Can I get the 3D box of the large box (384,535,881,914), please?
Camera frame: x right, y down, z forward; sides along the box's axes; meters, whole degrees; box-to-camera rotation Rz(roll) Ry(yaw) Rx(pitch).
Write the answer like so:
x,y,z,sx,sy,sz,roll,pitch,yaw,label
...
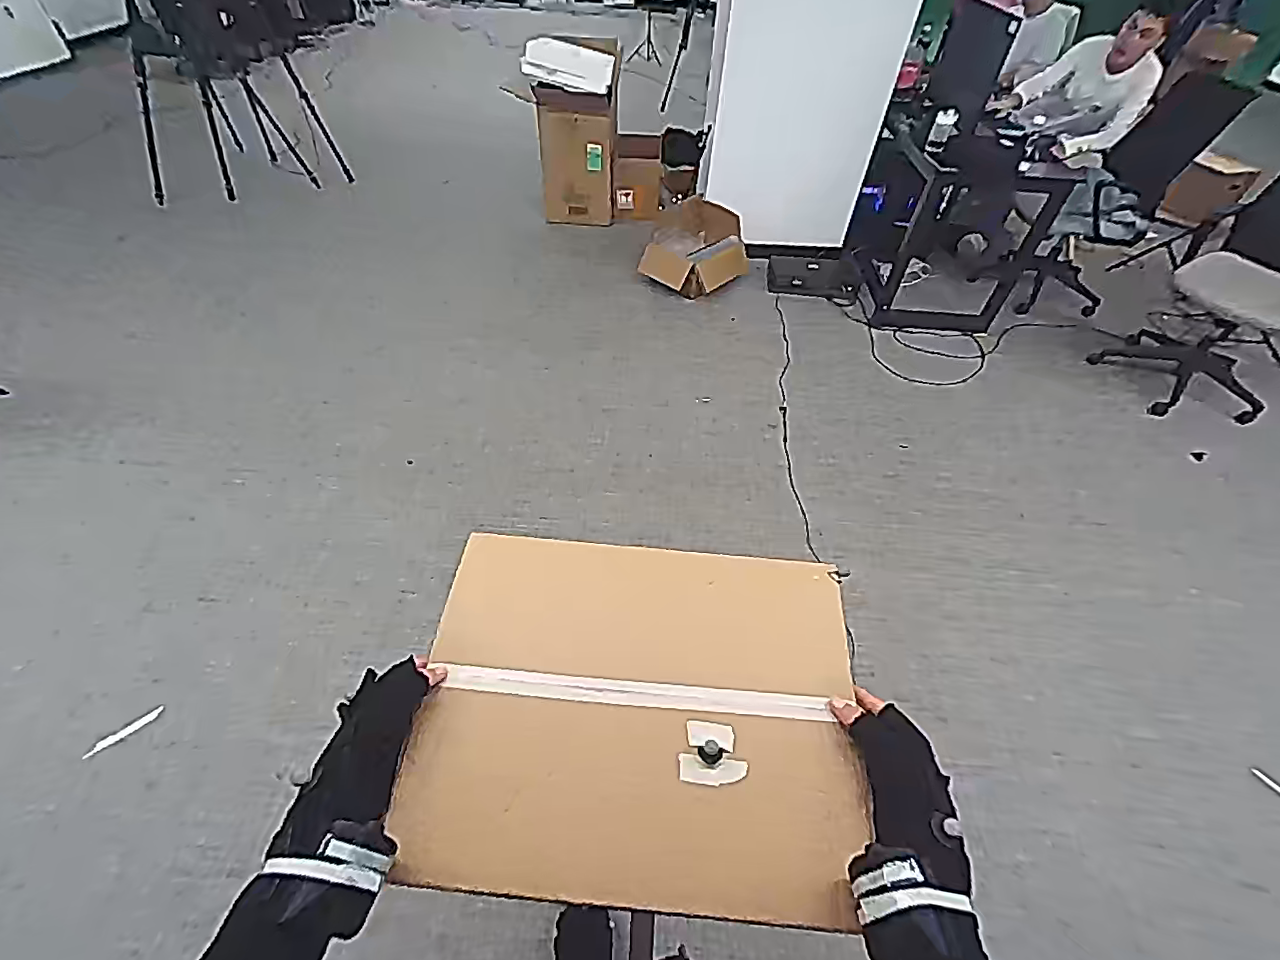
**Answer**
x,y,z,sx,sy,sz,roll,pitch,yaw,label
-0.003,0.288,0.630,0.408,0.320,0.320,6,53,2,large box
